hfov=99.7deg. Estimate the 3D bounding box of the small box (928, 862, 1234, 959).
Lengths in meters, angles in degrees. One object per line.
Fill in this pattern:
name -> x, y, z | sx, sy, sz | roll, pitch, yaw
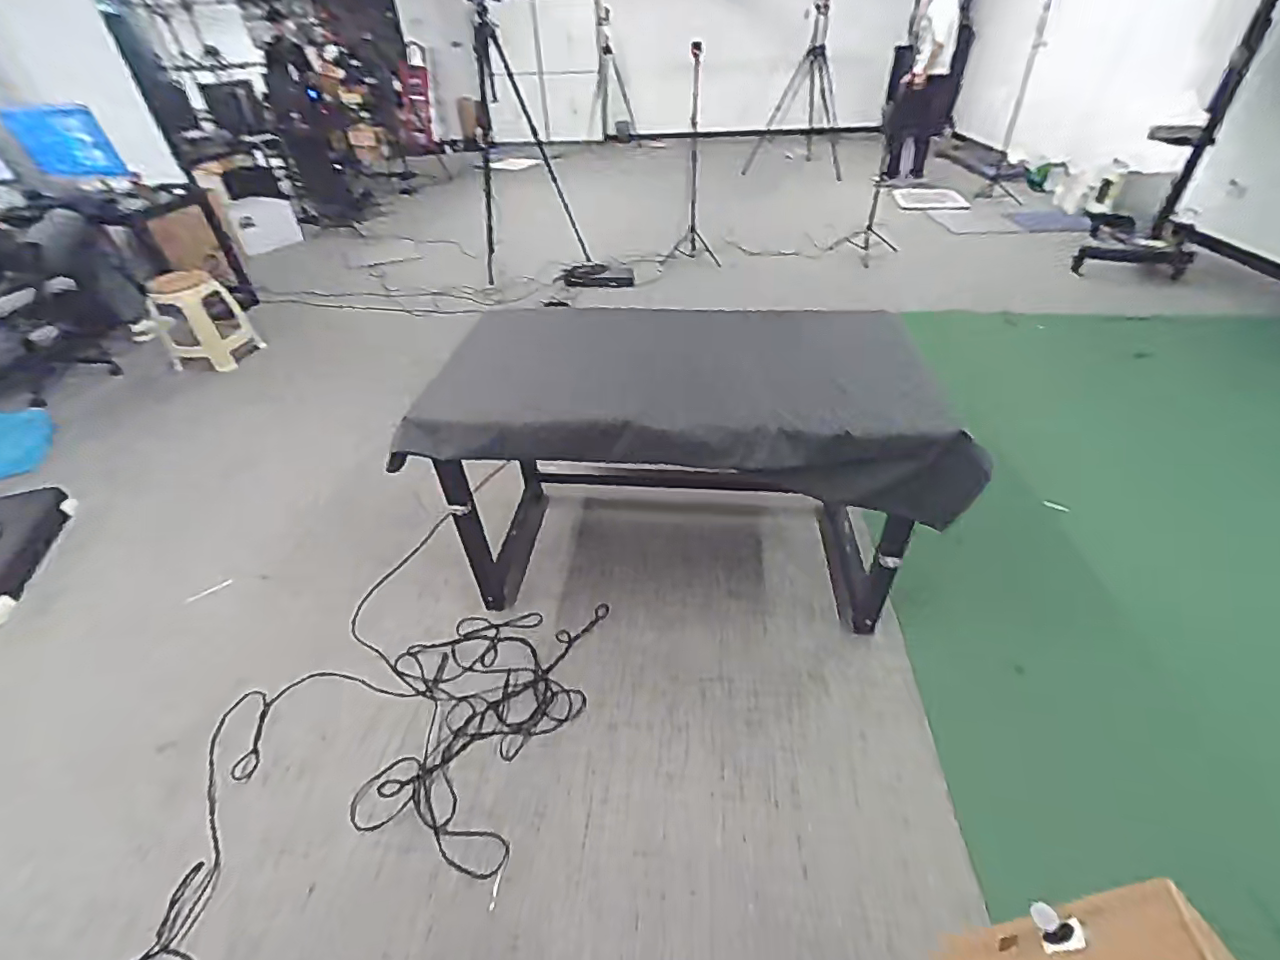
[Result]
small box -> 0.269, 0.347, 0.273 | 0.168, 0.176, 0.179 | -41, 63, 20
